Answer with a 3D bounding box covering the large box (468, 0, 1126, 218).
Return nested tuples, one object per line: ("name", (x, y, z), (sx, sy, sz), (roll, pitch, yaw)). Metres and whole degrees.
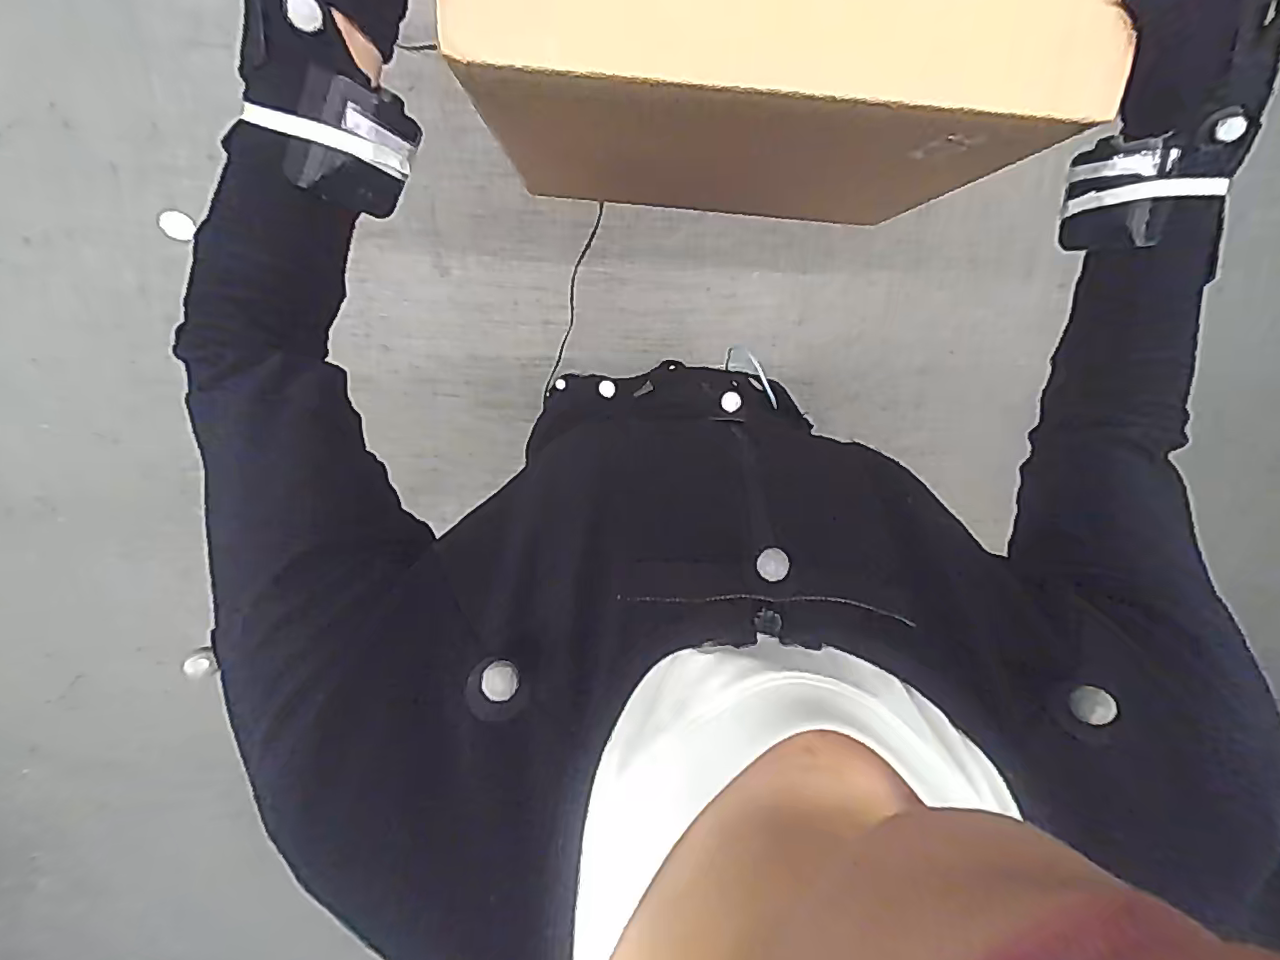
("large box", (0.093, -0.422, 0.439), (0.408, 0.320, 0.320), (2, 105, -4))
